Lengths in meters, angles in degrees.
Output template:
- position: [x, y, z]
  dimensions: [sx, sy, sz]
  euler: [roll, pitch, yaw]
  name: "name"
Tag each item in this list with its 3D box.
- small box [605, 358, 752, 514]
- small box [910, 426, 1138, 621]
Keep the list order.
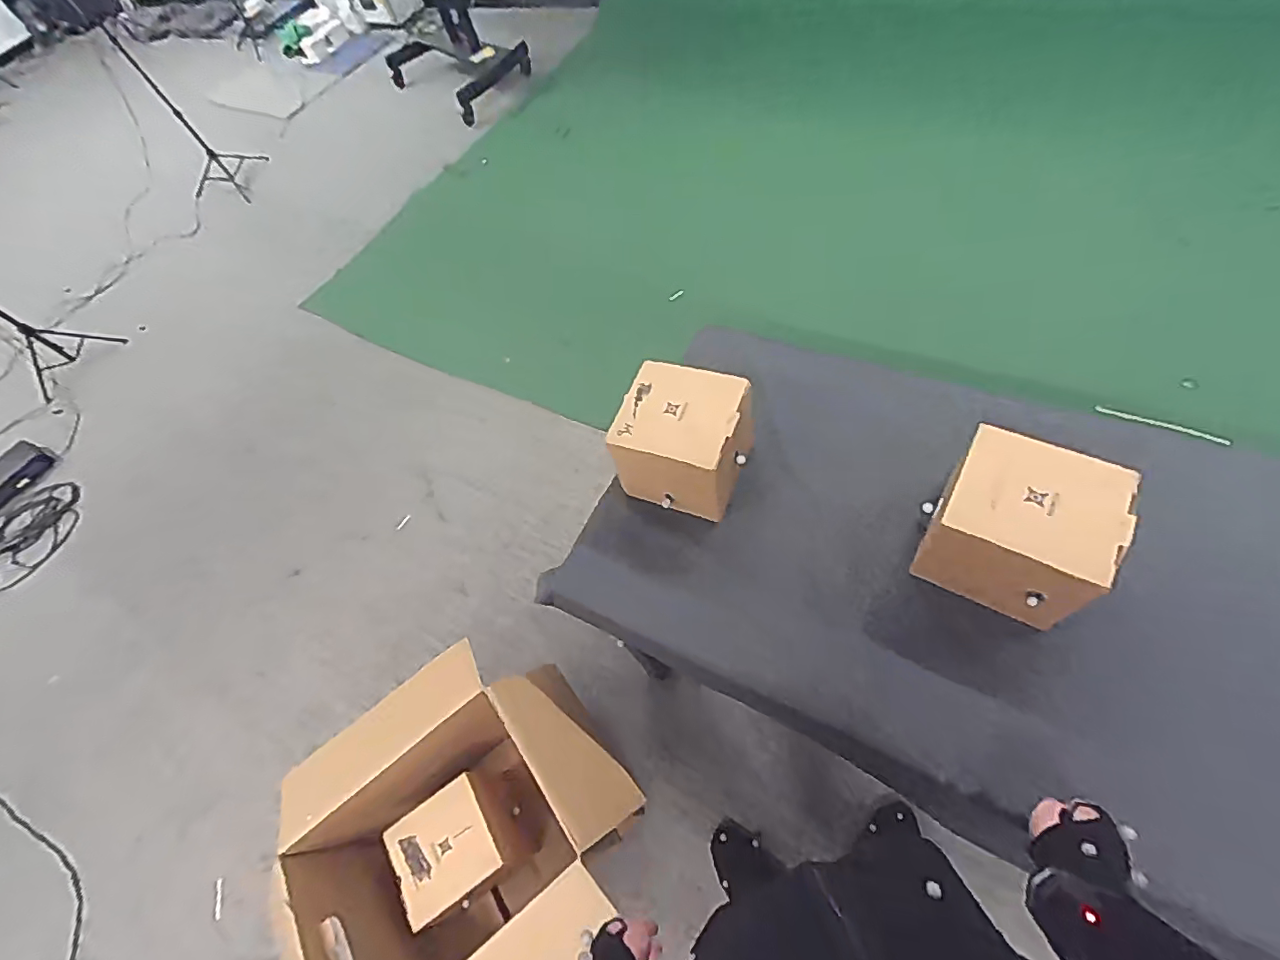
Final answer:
- position: [0.070, -0.064, 0.866]
  dimensions: [0.179, 0.176, 0.168]
  euler: [17, 64, 20]
  name: "small box"
- position: [0.484, 0.064, 0.705]
  dimensions: [0.179, 0.176, 0.168]
  euler: [24, 66, 25]
  name: "small box"
